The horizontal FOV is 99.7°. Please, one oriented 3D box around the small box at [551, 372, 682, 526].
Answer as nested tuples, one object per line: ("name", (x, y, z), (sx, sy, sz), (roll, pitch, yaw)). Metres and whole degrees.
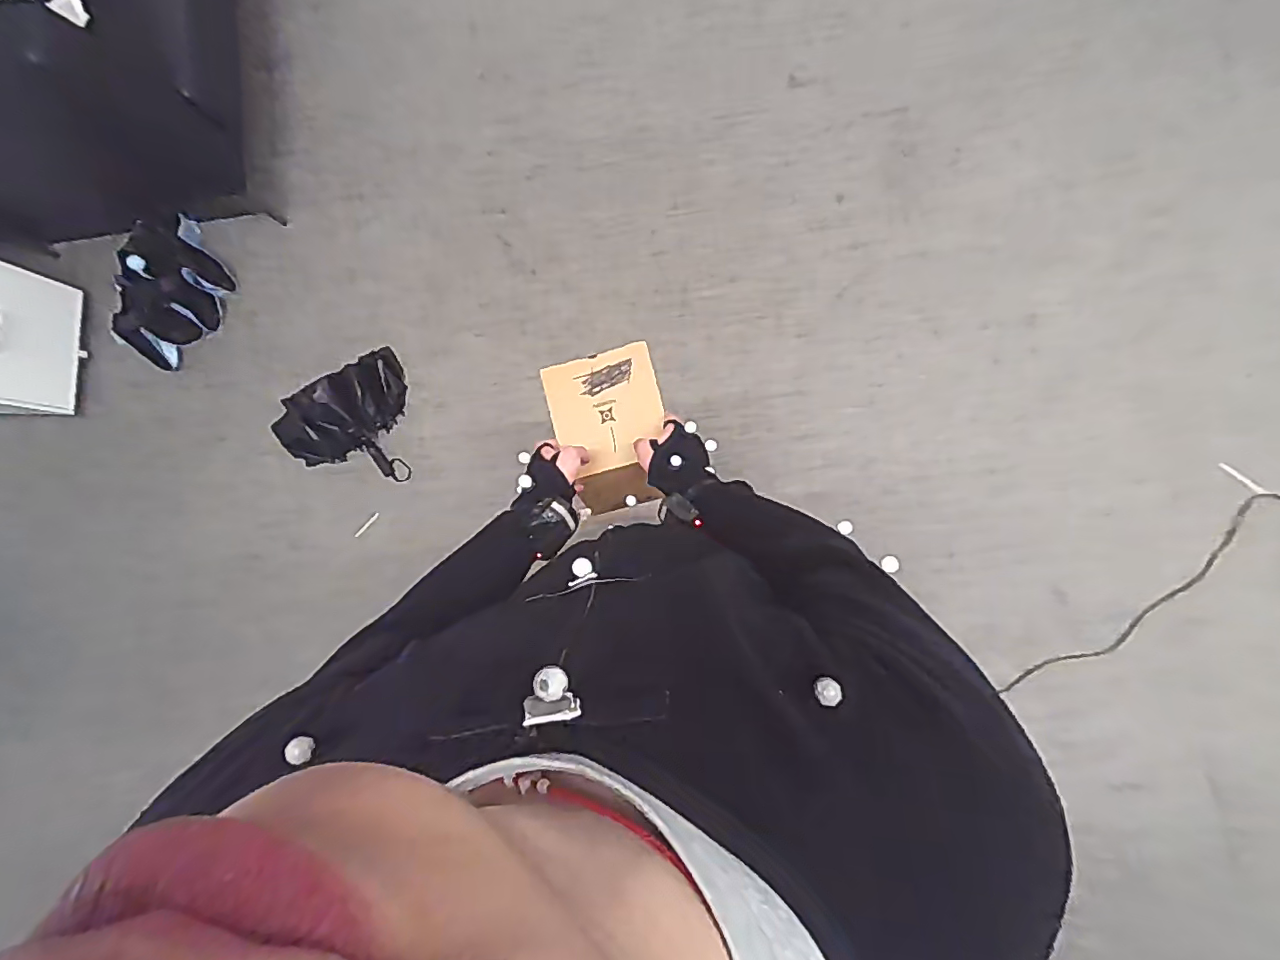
("small box", (-0.033, -0.044, 0.888), (0.168, 0.176, 0.179), (-16, 68, 4))
